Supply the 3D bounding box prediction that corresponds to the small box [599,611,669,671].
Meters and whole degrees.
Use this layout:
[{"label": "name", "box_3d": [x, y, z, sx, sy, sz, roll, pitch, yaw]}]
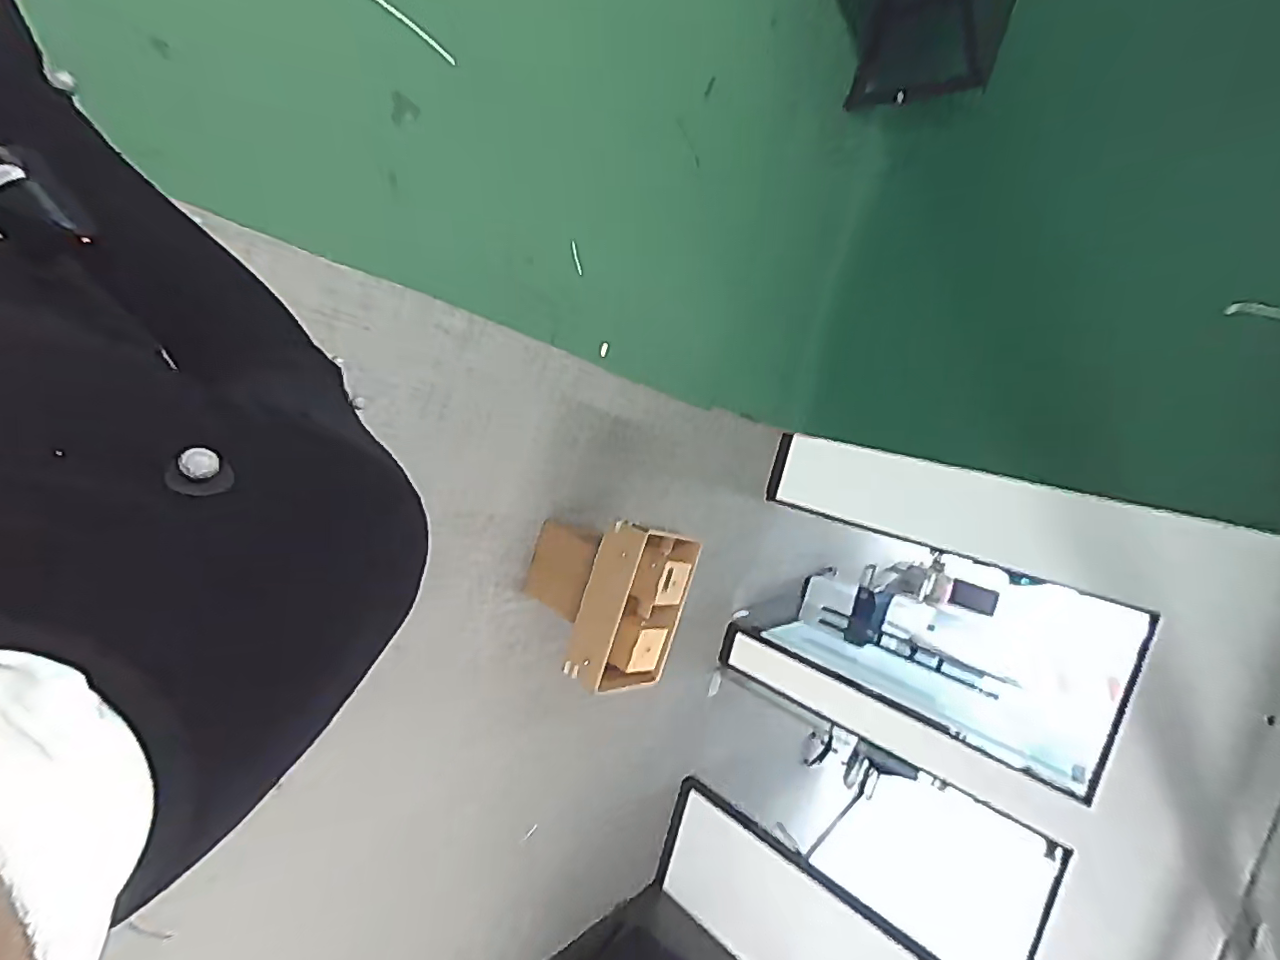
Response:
[{"label": "small box", "box_3d": [-0.023, 0.608, 2.059, 0.179, 0.176, 0.168, 19, 90, -50]}]
